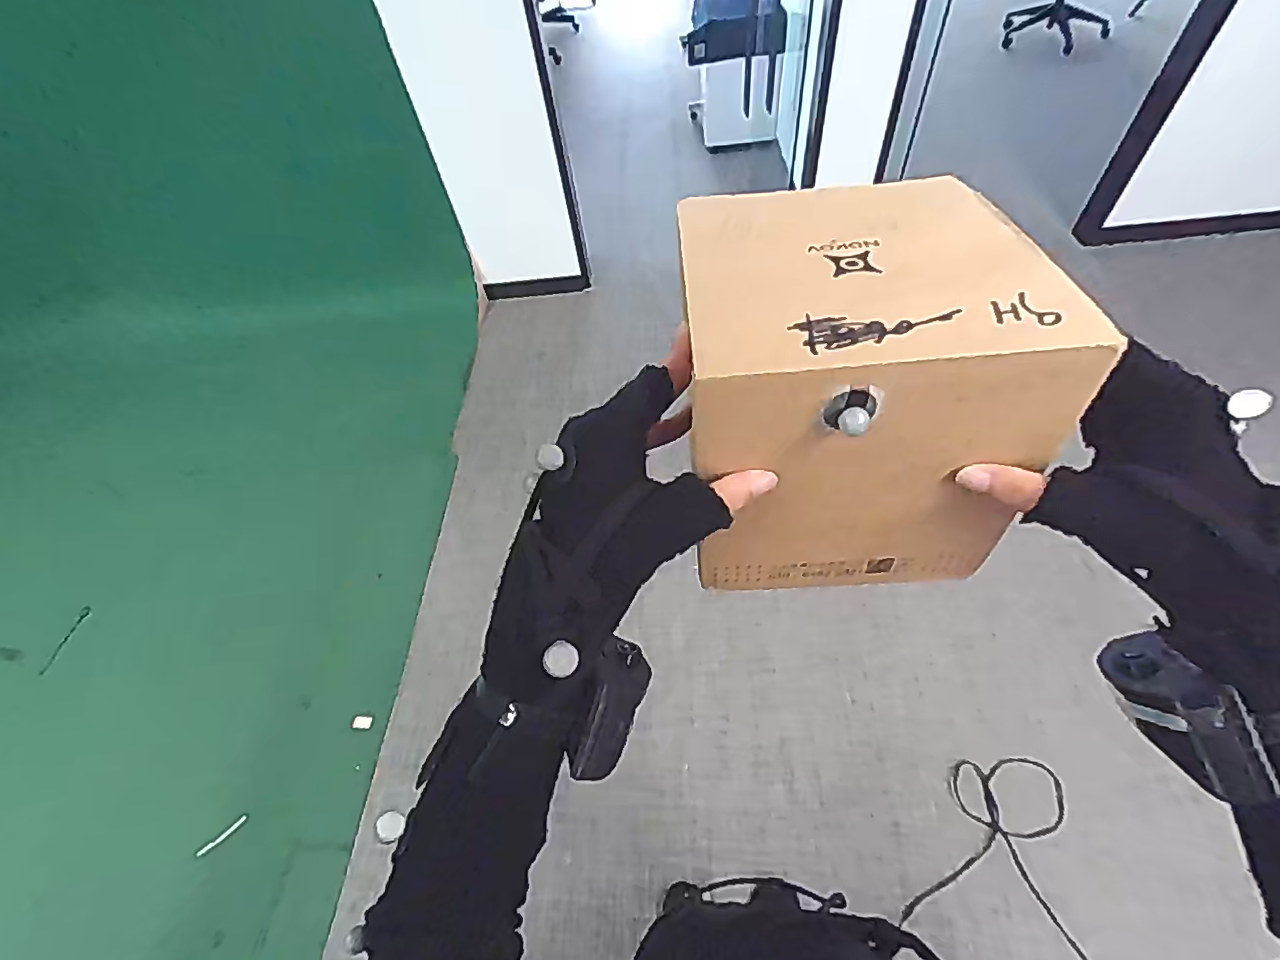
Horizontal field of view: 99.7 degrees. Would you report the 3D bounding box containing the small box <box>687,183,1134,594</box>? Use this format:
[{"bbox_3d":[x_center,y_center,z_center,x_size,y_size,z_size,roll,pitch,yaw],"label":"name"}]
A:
[{"bbox_3d":[0.113,-0.052,0.323,0.168,0.176,0.179,-4,47,5],"label":"small box"}]
